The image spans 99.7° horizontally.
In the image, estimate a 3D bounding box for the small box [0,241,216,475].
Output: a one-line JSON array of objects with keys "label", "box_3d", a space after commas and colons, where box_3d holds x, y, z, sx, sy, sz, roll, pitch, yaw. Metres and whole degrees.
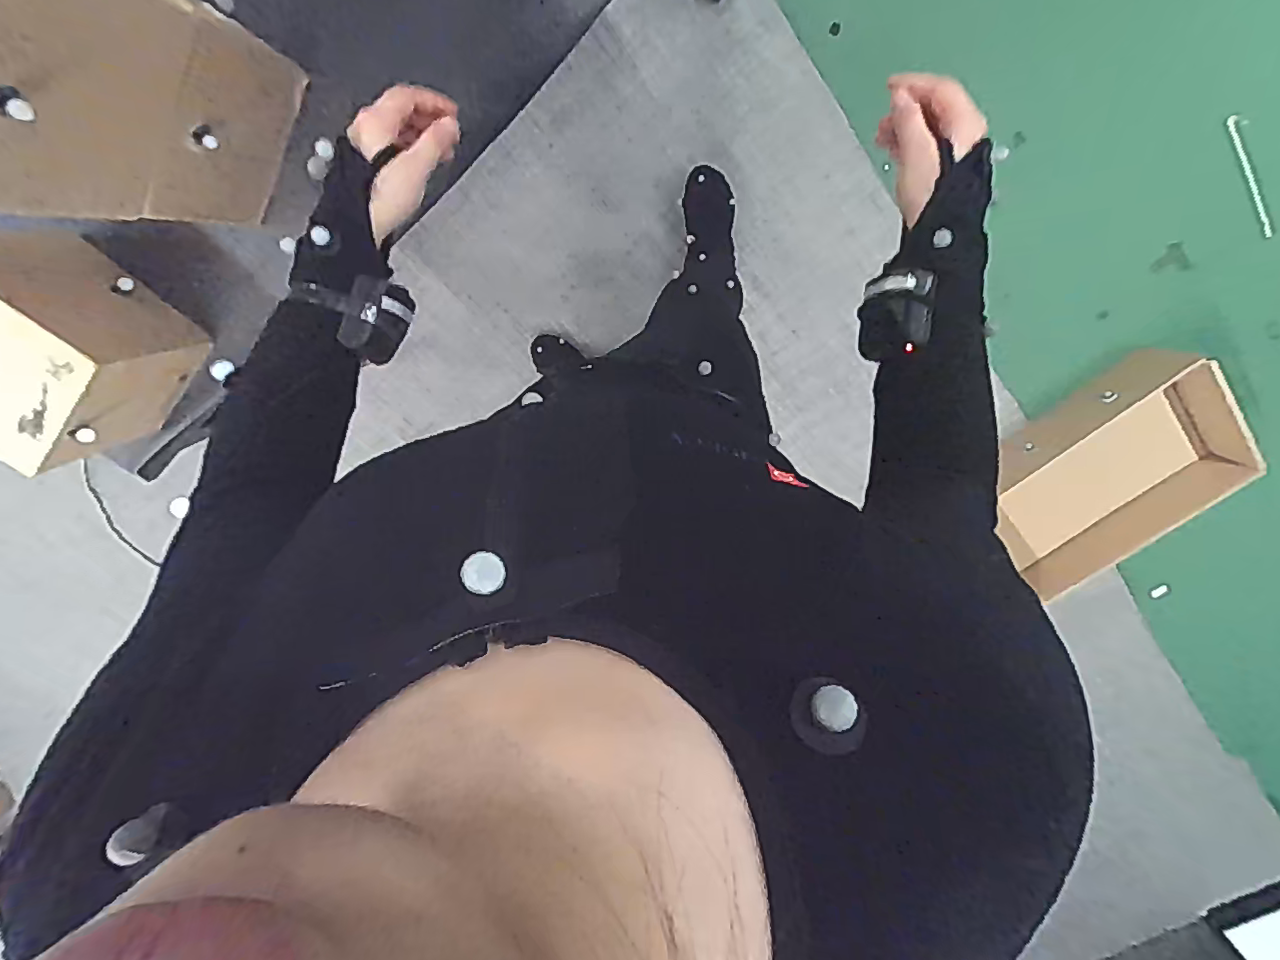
[{"label": "small box", "box_3d": [-0.641, -0.142, 0.601, 0.179, 0.176, 0.168, 41, 107, -16]}]

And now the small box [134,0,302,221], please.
[{"label": "small box", "box_3d": [-0.460, -0.367, 0.509, 0.168, 0.176, 0.179, 30, 109, -13]}]

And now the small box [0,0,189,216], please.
[{"label": "small box", "box_3d": [-0.457, -0.300, 0.358, 0.168, 0.176, 0.179, 32, 109, -14]}]
